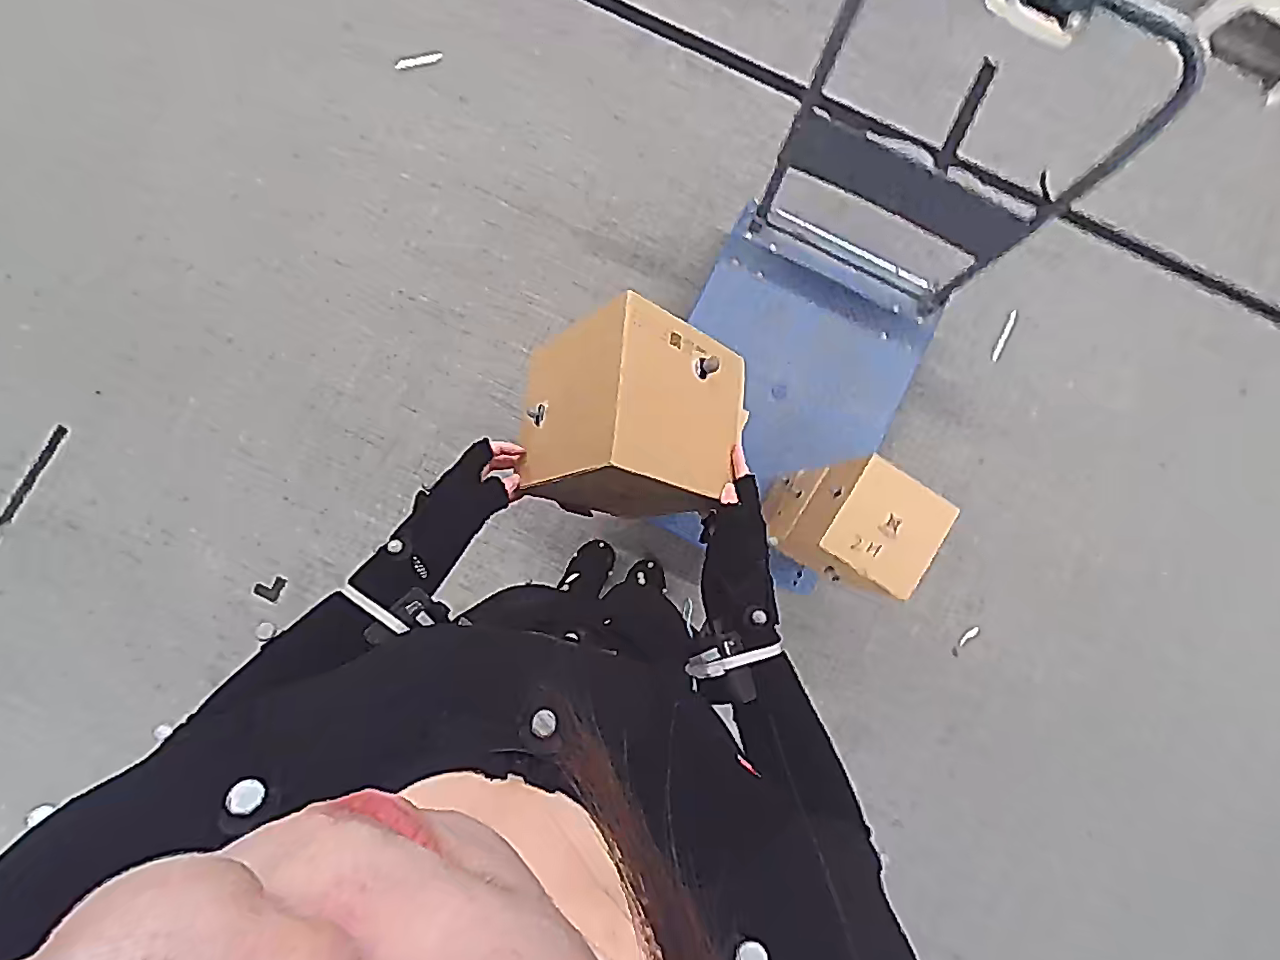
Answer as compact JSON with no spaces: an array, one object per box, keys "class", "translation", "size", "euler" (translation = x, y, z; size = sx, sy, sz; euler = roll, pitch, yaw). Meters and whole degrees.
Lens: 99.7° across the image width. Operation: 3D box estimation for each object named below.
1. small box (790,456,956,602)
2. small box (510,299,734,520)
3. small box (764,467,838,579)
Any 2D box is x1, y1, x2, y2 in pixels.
[{"class":"small box","translation":[0.385,0.080,0.930],"size":[0.168,0.176,0.179],"euler":[34,86,0]},{"class":"small box","translation":[-0.014,-0.060,0.574],"size":[0.168,0.179,0.176],"euler":[16,72,-39]},{"class":"small box","translation":[0.377,0.094,1.095],"size":[0.179,0.176,0.168],"euler":[33,86,0]}]
